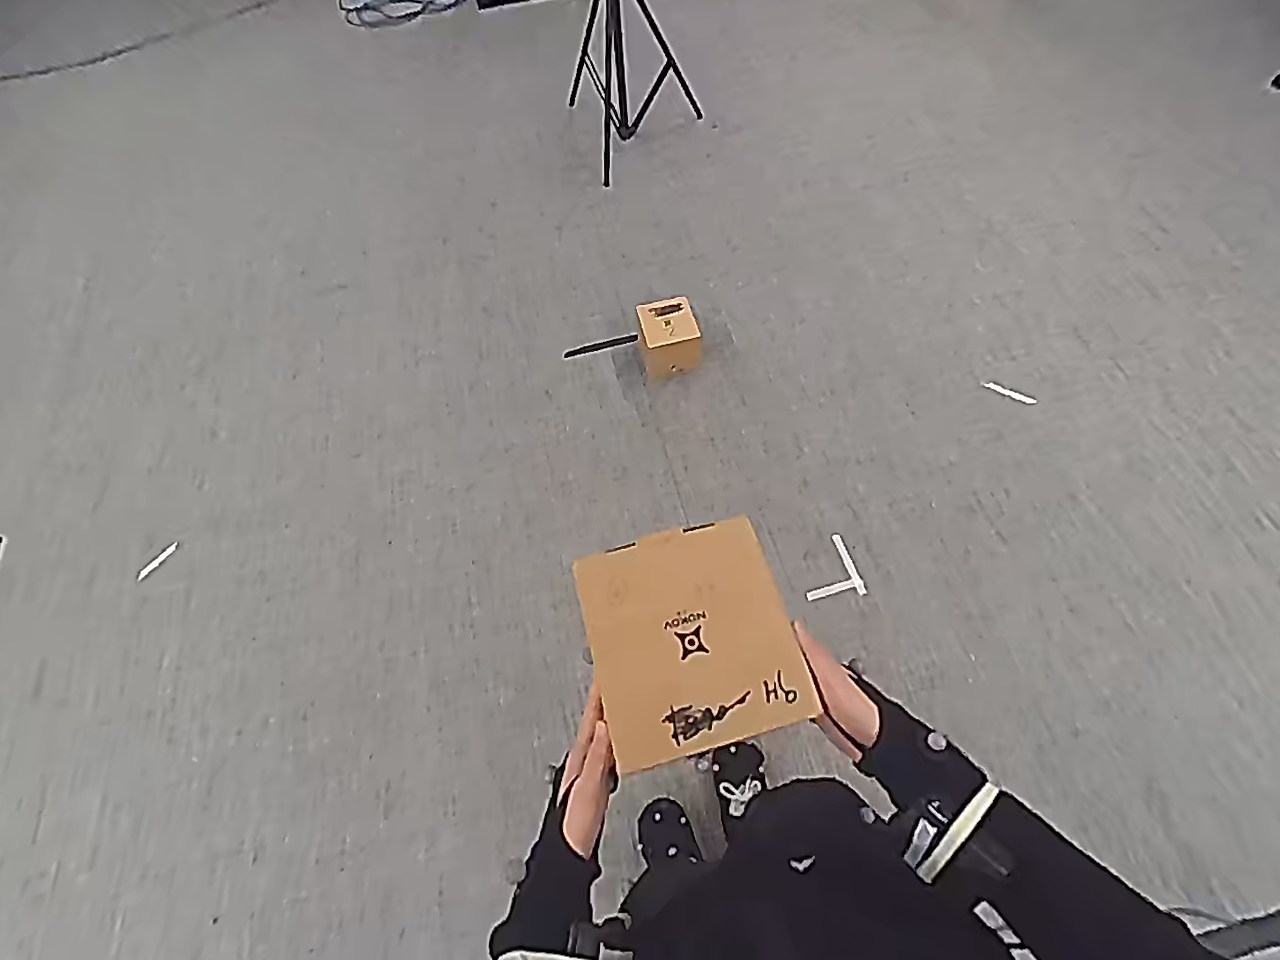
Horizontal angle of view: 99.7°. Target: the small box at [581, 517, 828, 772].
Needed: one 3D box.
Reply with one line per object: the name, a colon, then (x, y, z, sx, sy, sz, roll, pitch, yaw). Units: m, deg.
small box: (0.047, 0.162, 0.514, 0.168, 0.176, 0.179, -14, 63, -5)
